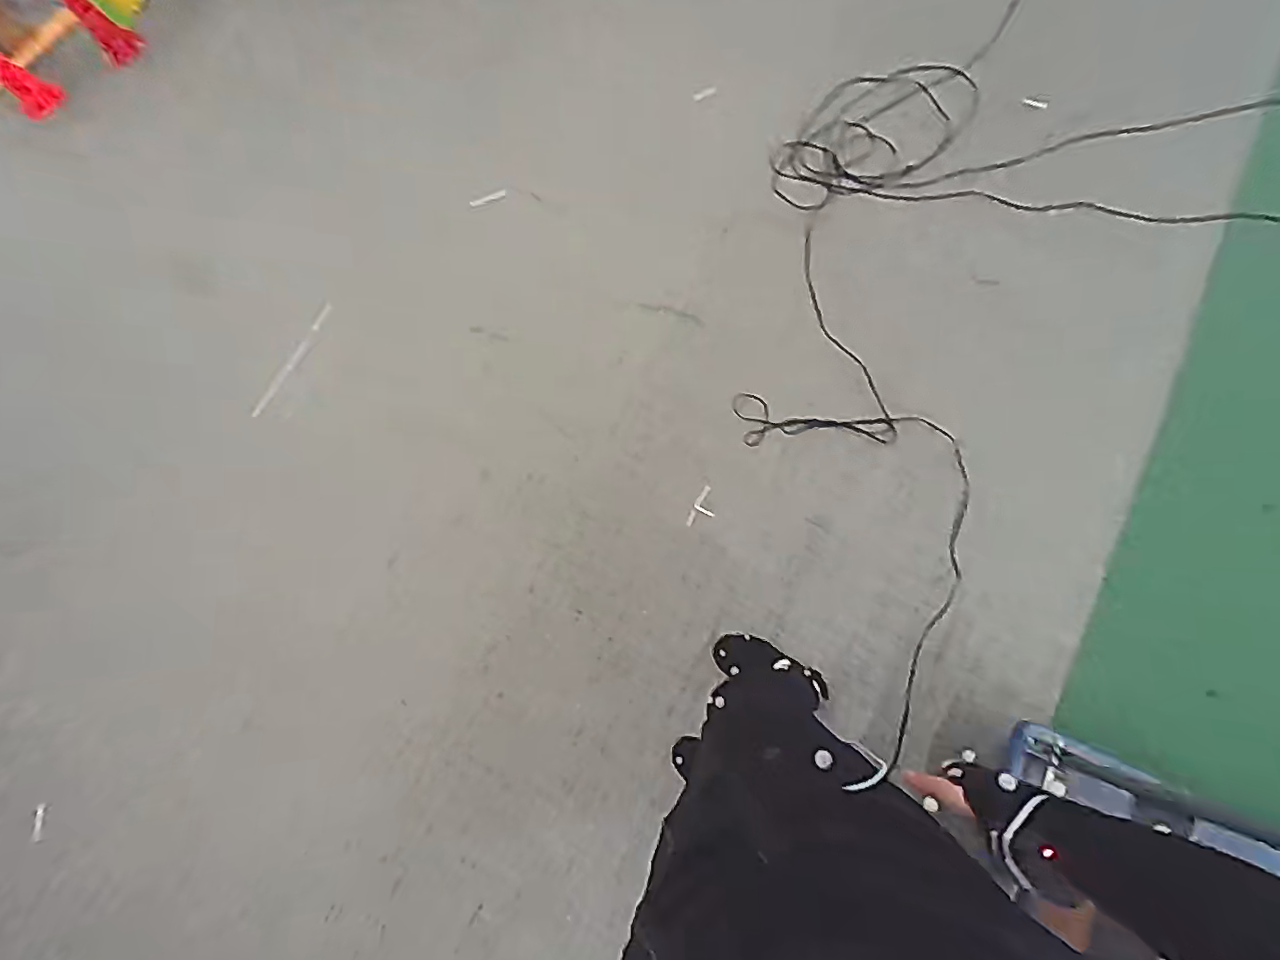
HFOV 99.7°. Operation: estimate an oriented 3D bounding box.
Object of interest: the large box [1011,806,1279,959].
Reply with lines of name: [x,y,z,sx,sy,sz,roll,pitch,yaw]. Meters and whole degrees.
large box: [0.930,0.824,0.885,0.408,0.320,0.320,25,79,14]
